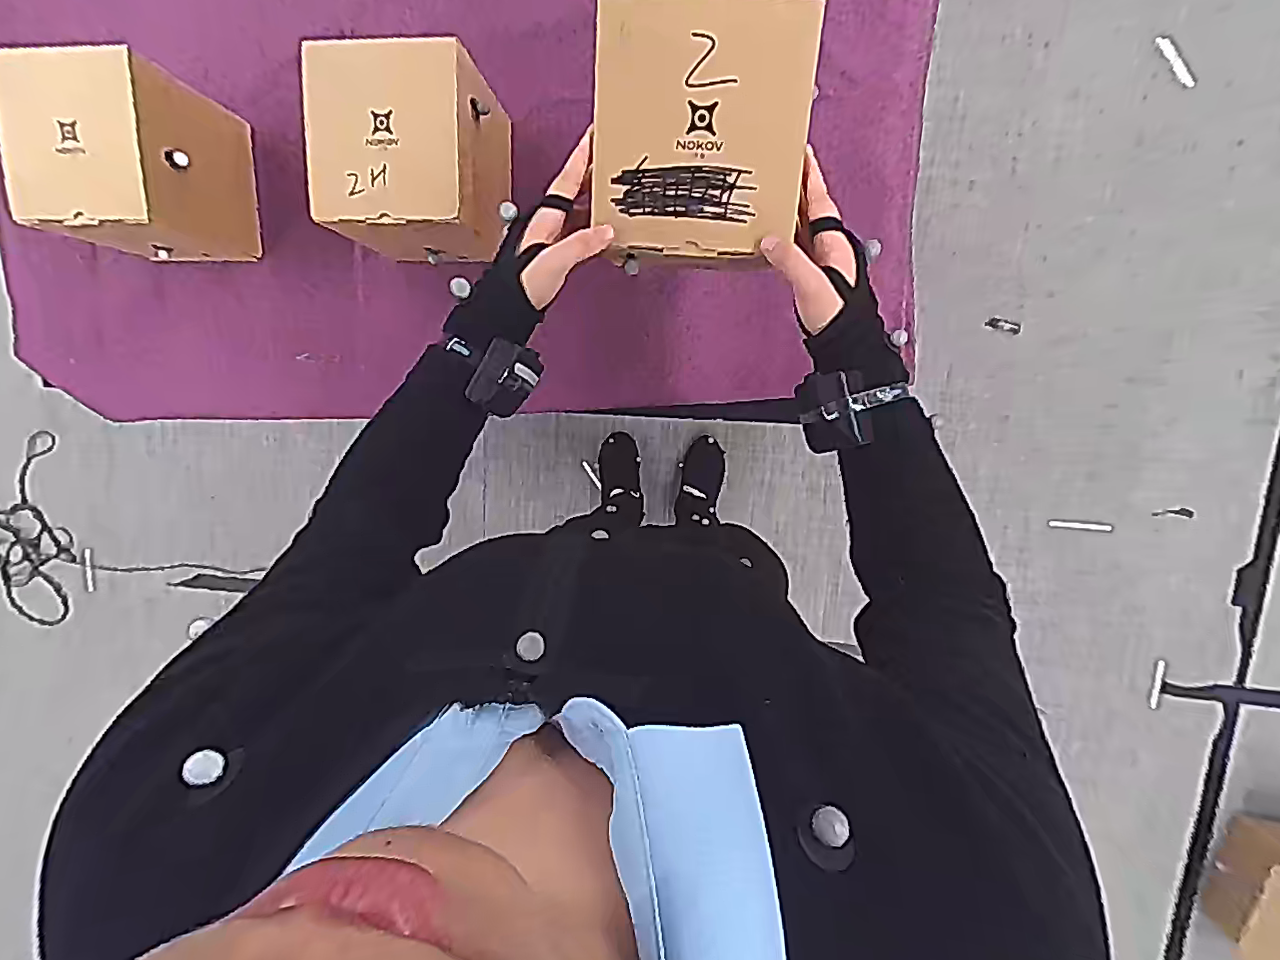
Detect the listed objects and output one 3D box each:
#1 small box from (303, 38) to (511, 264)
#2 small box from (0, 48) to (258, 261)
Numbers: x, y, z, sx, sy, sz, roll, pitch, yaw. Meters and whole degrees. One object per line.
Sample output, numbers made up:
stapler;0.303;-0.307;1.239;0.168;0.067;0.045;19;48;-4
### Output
small box;-0.257;-0.366;0.631;0.168;0.176;0.179;3;99;5
small box;-0.609;-0.380;0.660;0.168;0.176;0.179;2;100;4
